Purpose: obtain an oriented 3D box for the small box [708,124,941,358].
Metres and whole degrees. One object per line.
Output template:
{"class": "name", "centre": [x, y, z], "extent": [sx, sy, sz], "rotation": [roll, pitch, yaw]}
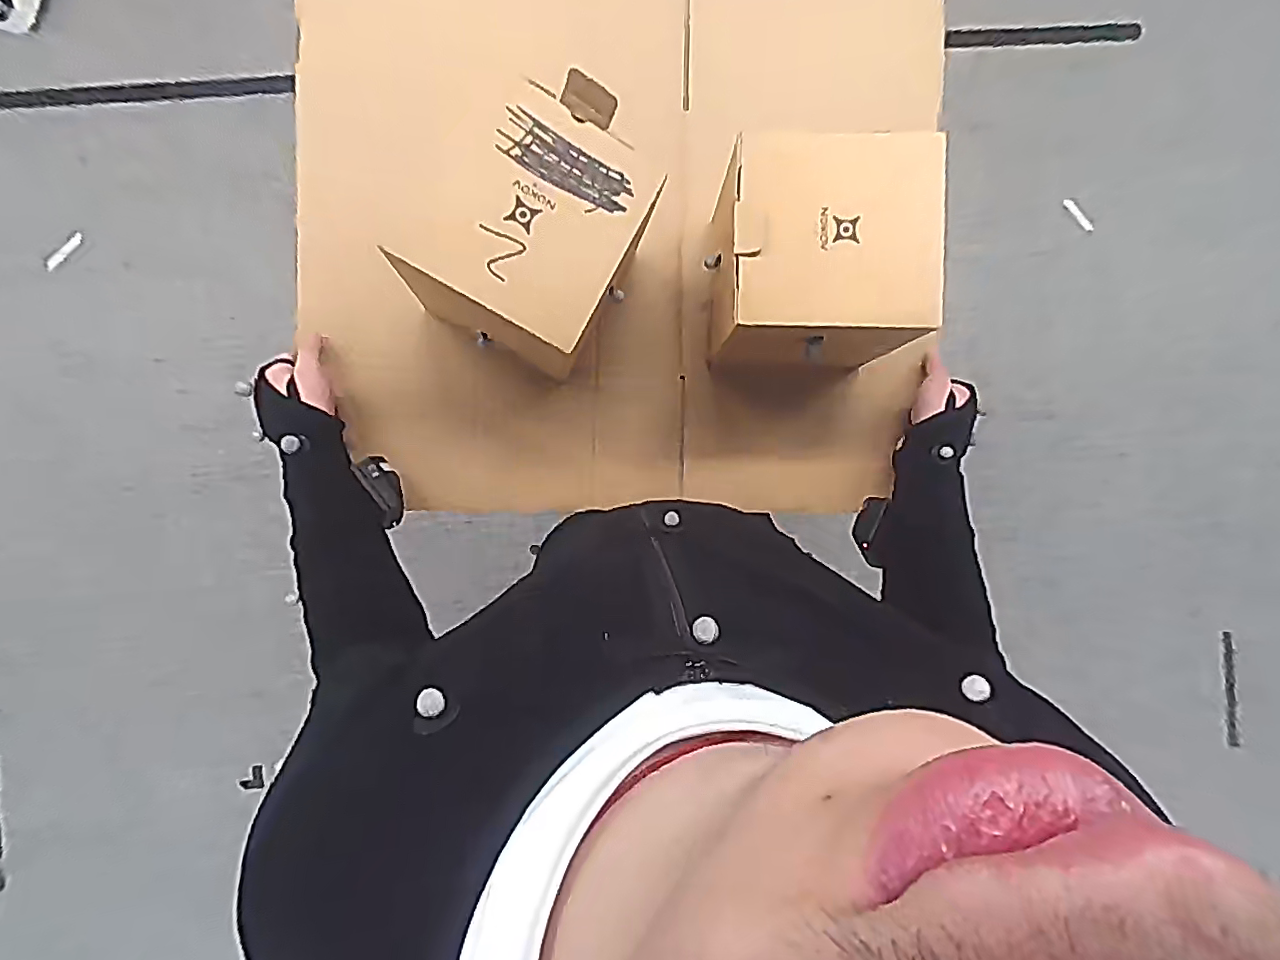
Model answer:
{"class": "small box", "centre": [0.170, -0.223, 0.546], "extent": [0.179, 0.176, 0.168], "rotation": [1, 91, -1]}
